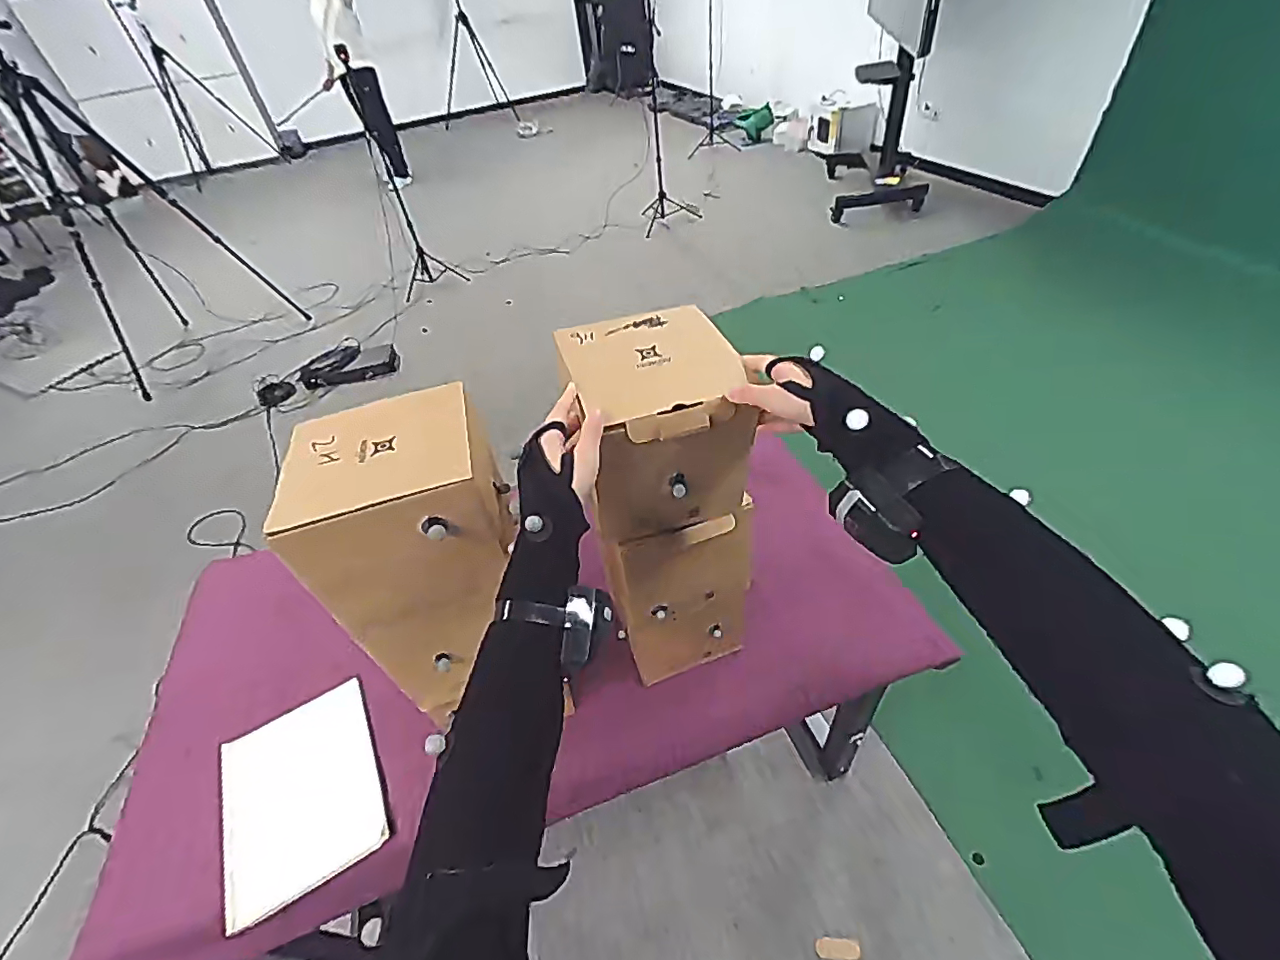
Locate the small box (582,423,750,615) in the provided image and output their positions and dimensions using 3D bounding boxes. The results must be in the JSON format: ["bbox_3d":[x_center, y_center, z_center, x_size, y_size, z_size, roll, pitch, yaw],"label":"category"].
[{"bbox_3d":[0.035,0.057,0.724,0.168,0.176,0.179,-18,44,-11],"label":"small box"}]

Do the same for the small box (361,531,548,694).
[{"bbox_3d":[-0.224,0.142,0.677,0.168,0.176,0.179,-18,44,-9],"label":"small box"}]

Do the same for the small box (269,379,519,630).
[{"bbox_3d":[-0.233,0.025,0.561,0.179,0.176,0.168,-17,43,-8],"label":"small box"}]

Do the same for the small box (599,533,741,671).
[{"bbox_3d":[0.047,0.172,0.839,0.168,0.176,0.179,-17,44,-9],"label":"small box"}]
